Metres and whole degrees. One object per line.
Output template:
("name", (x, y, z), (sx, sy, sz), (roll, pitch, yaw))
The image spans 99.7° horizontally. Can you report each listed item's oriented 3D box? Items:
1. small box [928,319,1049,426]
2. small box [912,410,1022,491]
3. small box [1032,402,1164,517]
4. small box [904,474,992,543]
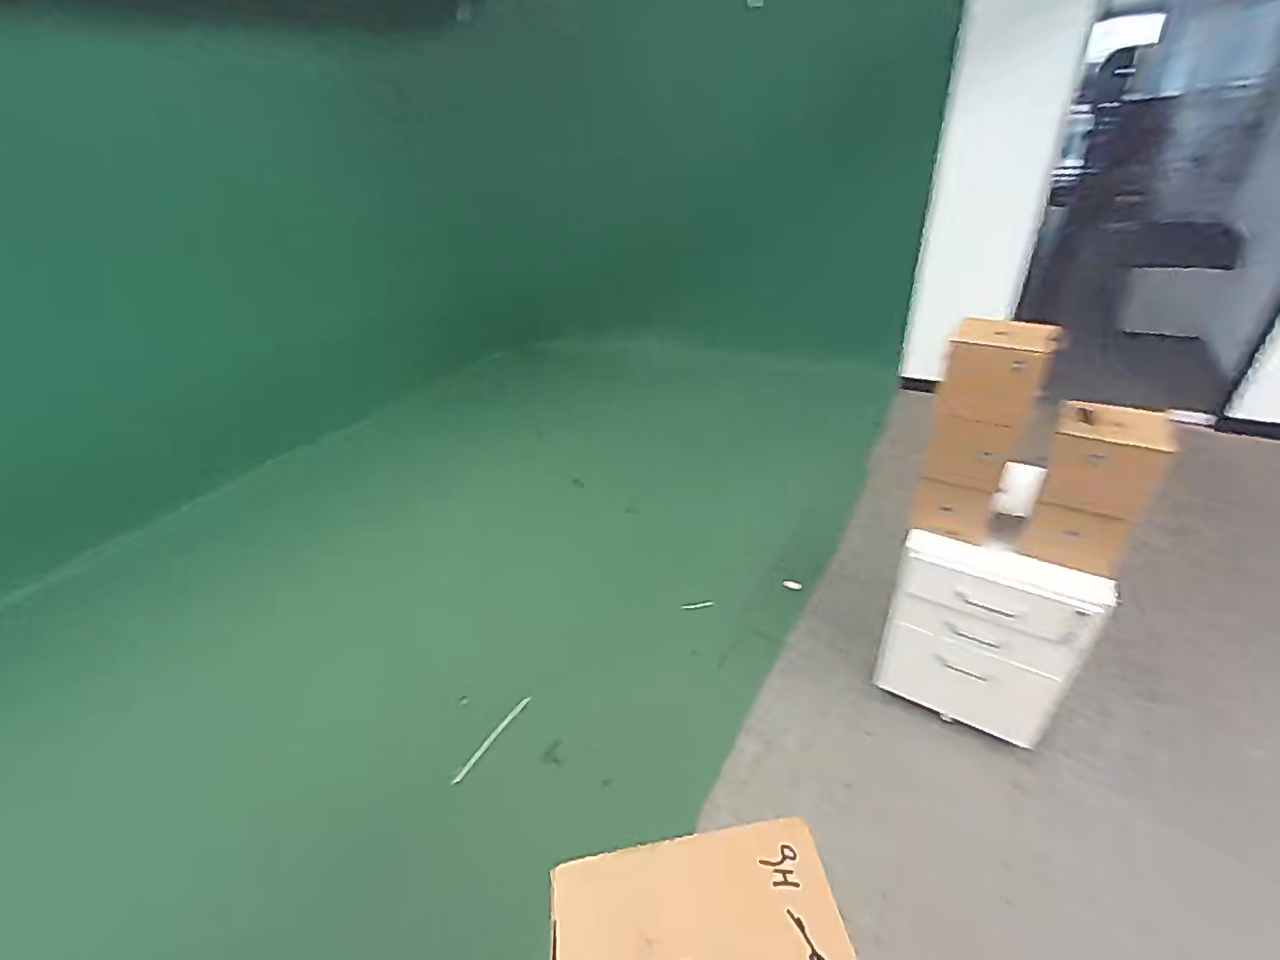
("small box", (0.743, -0.233, 1.163), (0.179, 0.176, 0.168), (19, 41, 31))
("small box", (0.755, -0.096, 1.251), (0.179, 0.176, 0.168), (17, 39, 30))
("small box", (0.955, -0.044, 1.138), (0.179, 0.176, 0.168), (18, 41, 32))
("small box", (0.777, 0.029, 1.353), (0.168, 0.176, 0.179), (19, 41, 30))
